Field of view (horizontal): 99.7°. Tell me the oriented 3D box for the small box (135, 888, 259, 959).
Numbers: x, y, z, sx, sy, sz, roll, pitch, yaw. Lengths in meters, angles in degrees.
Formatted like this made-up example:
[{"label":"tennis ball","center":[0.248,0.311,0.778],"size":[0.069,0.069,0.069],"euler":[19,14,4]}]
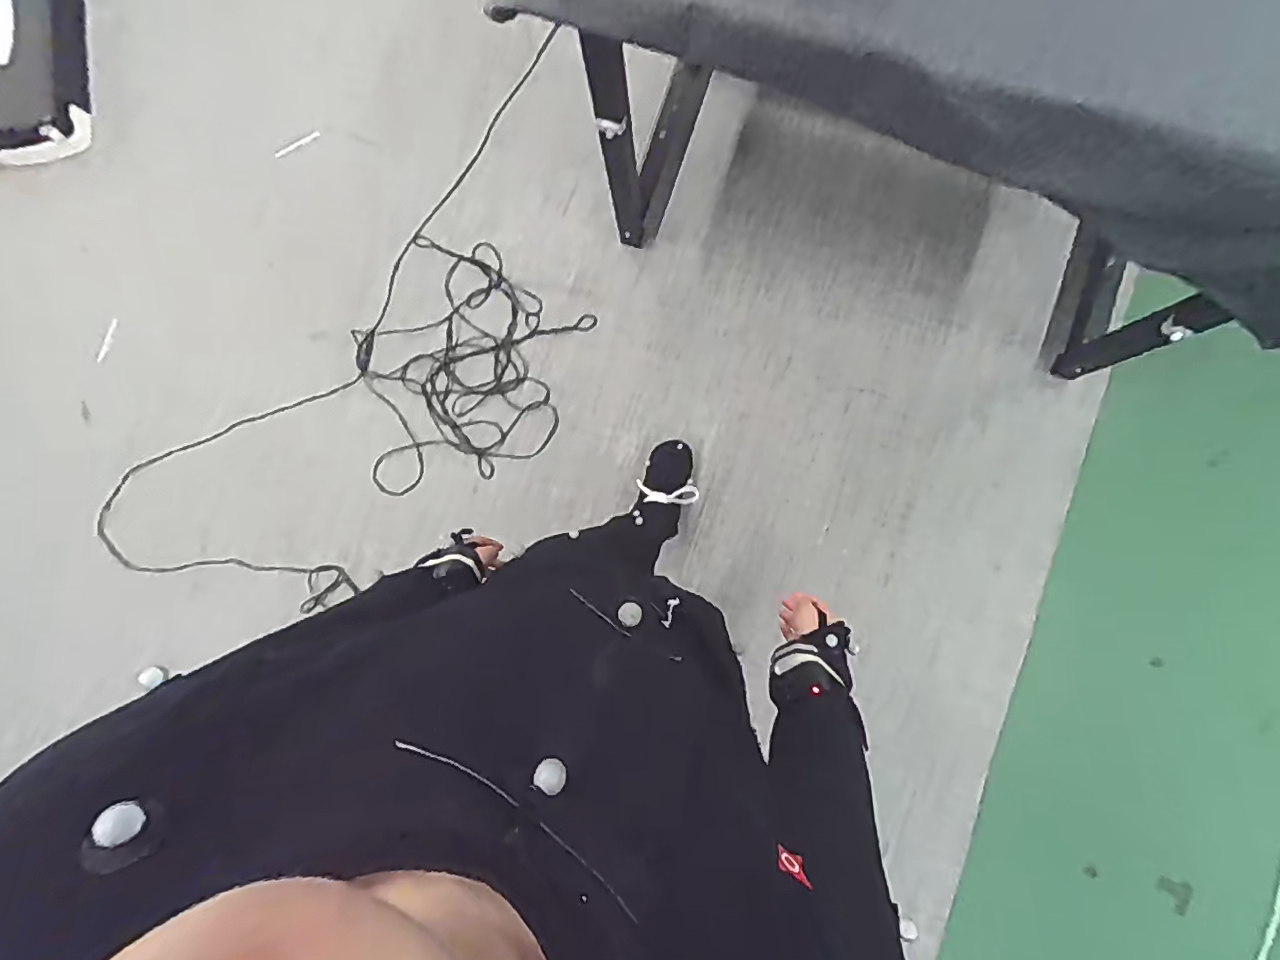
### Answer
[{"label":"small box","center":[-1.040,1.116,1.253],"size":[0.168,0.176,0.179],"euler":[30,87,6]}]
